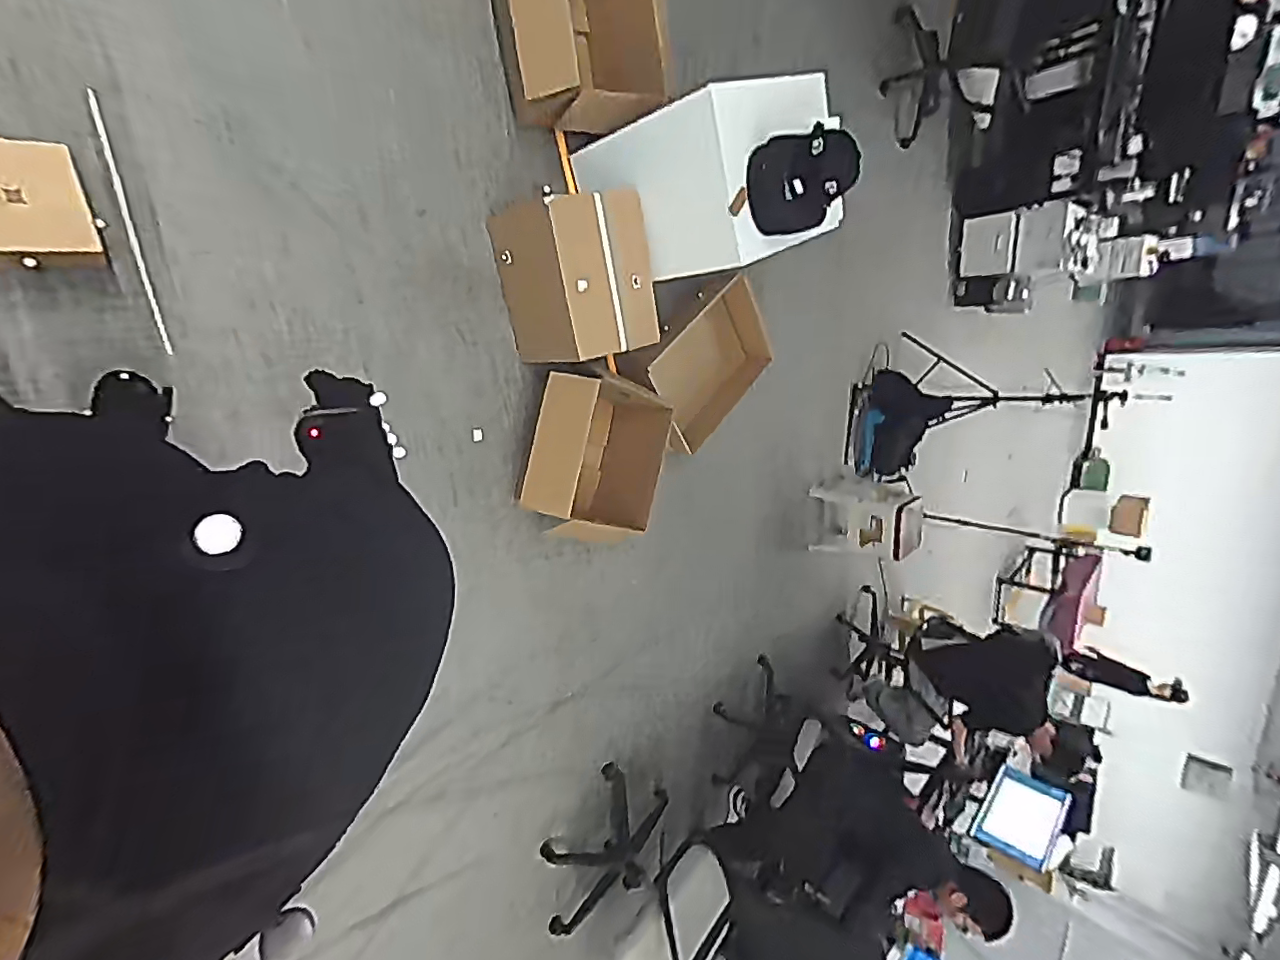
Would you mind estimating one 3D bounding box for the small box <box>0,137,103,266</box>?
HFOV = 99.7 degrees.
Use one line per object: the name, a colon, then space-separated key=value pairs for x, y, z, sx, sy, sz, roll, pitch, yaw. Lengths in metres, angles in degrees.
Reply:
small box: x=-1.035 y=-0.455 z=0.895 sx=0.179 sy=0.176 sz=0.168 roll=-19 pitch=111 yaw=-39
